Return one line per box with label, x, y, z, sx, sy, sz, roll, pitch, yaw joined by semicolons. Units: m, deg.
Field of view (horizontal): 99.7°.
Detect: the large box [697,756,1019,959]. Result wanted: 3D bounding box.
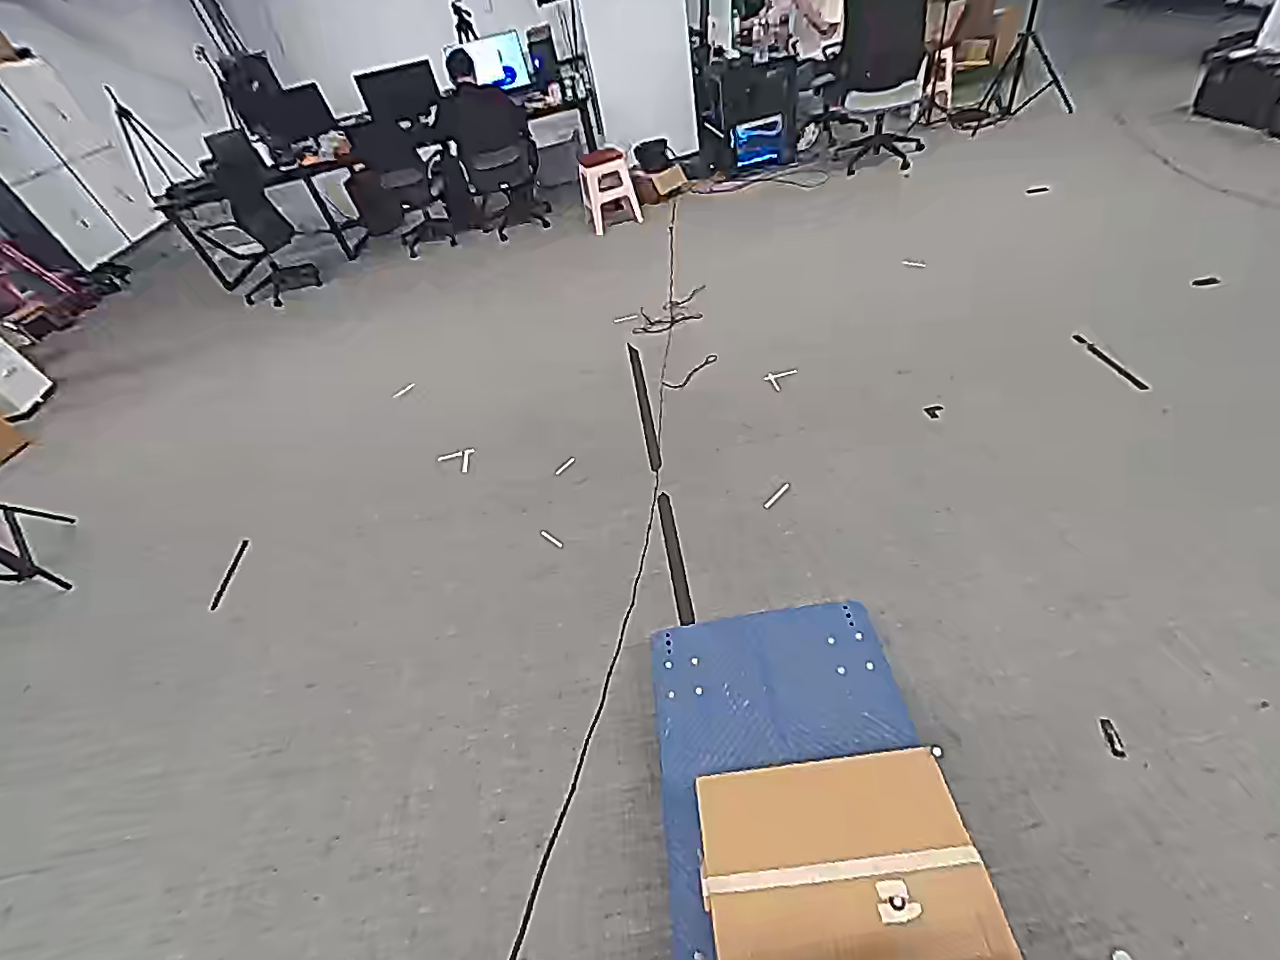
large box;0.328;0.708;0.910;0.408;0.320;0.320;-10;43;5
